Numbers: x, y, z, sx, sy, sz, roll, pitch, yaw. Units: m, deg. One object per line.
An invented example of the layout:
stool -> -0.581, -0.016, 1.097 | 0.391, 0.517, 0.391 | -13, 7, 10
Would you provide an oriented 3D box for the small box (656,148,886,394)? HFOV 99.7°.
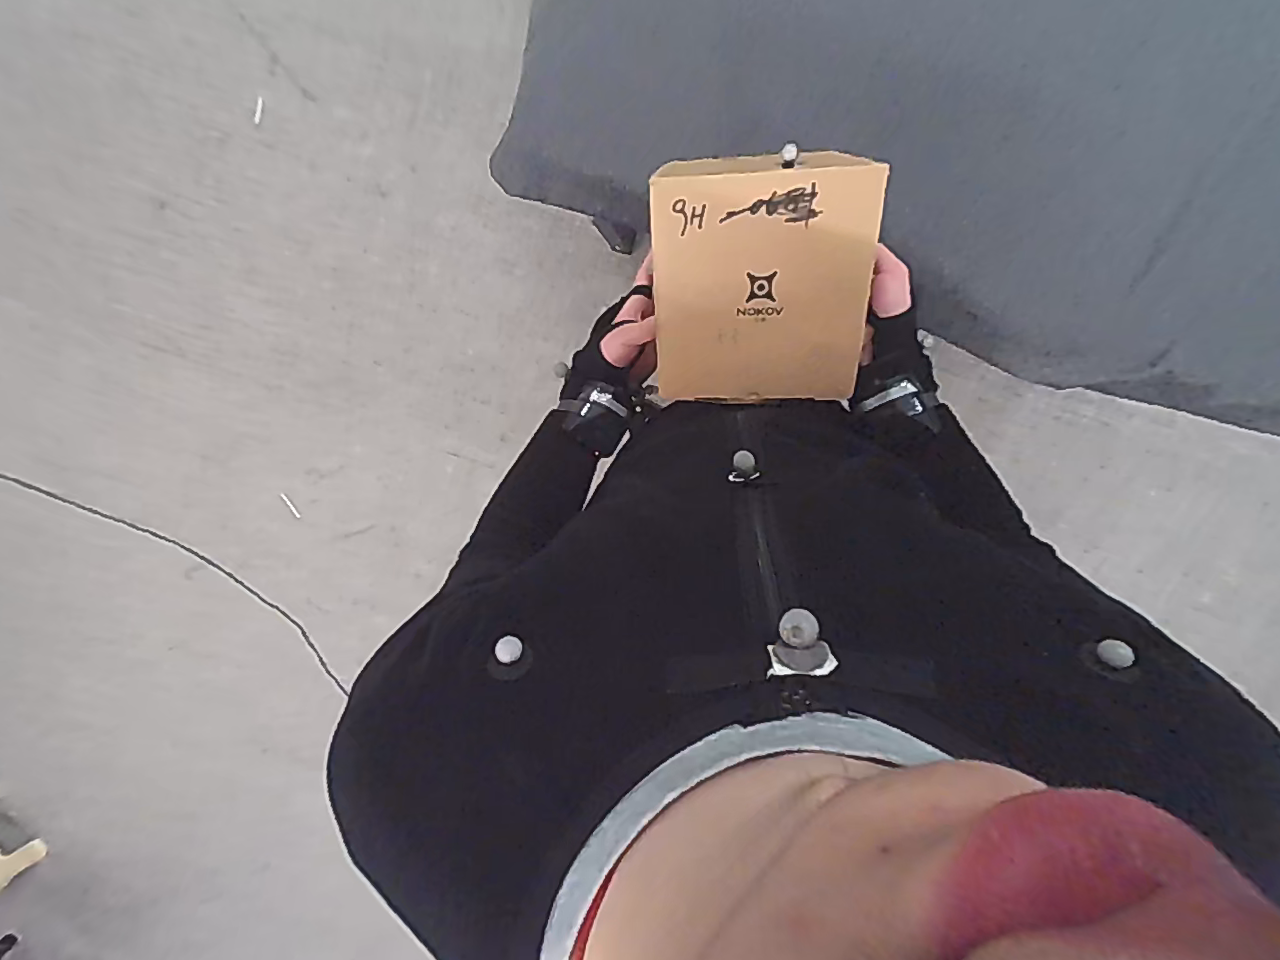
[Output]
small box -> 0.105, -0.195, 0.499 | 0.168, 0.176, 0.179 | 1, 125, 6
